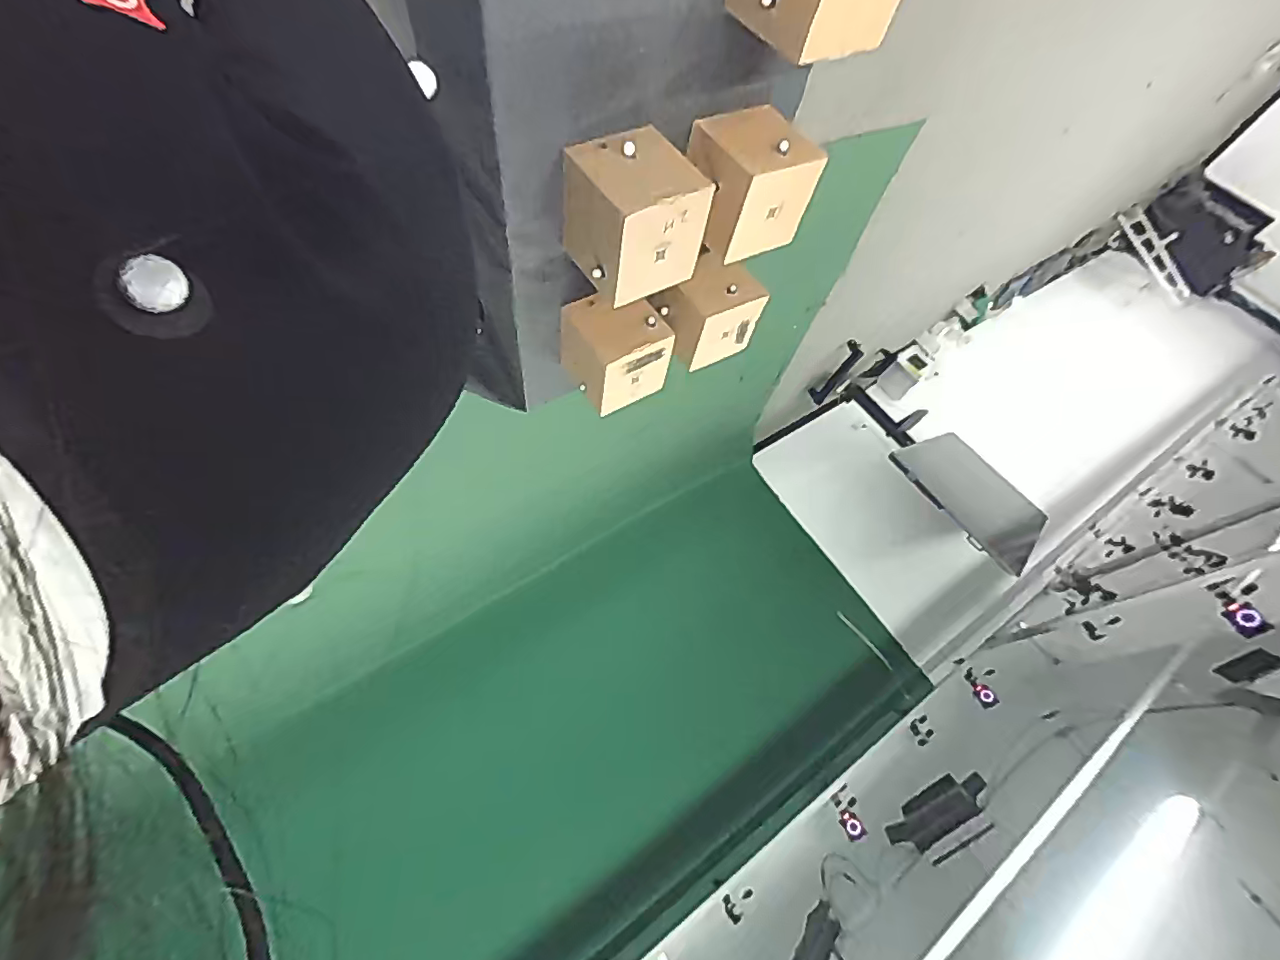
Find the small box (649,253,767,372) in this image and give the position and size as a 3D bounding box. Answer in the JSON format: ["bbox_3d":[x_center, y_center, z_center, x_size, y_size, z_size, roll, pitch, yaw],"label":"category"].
[{"bbox_3d":[0.145,-0.381,1.215,0.179,0.176,0.168,-27,157,-23],"label":"small box"}]

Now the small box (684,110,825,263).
[{"bbox_3d":[0.184,-0.526,0.967,0.179,0.176,0.168,-27,158,-24],"label":"small box"}]

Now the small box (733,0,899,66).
[{"bbox_3d":[0.238,-0.683,0.697,0.168,0.176,0.179,-28,159,-23],"label":"small box"}]

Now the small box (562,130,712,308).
[{"bbox_3d":[-0.015,-0.419,0.871,0.168,0.176,0.179,-29,158,-22],"label":"small box"}]
